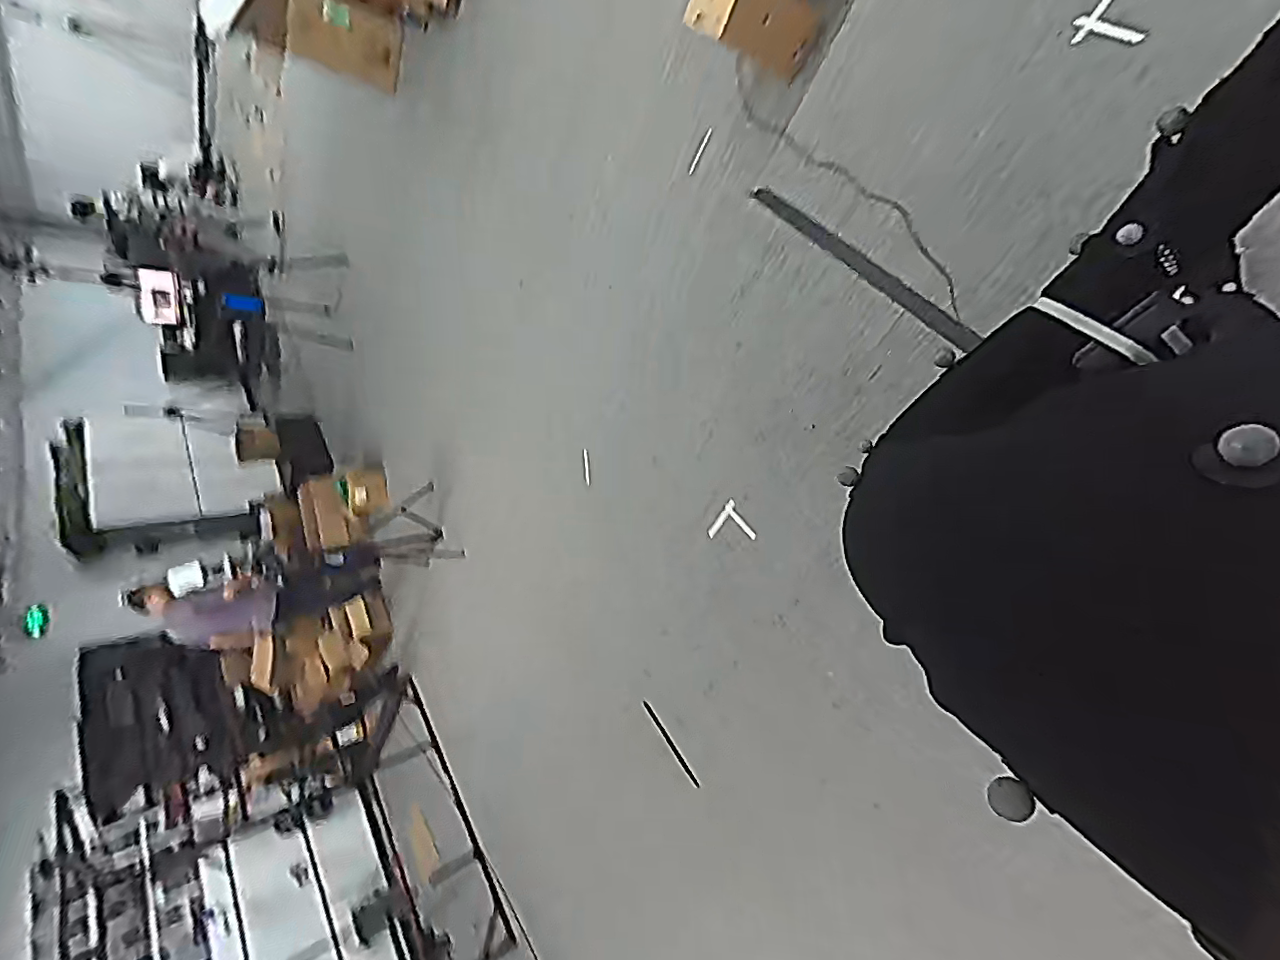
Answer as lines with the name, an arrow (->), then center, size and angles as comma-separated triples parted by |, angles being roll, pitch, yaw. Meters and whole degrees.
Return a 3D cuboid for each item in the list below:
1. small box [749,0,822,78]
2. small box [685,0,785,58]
small box -> 0.374, -1.287, 1.534 | 0.179, 0.176, 0.168 | 53, 130, 27
small box -> 0.258, -1.266, 1.420 | 0.168, 0.176, 0.179 | 53, 129, 28
